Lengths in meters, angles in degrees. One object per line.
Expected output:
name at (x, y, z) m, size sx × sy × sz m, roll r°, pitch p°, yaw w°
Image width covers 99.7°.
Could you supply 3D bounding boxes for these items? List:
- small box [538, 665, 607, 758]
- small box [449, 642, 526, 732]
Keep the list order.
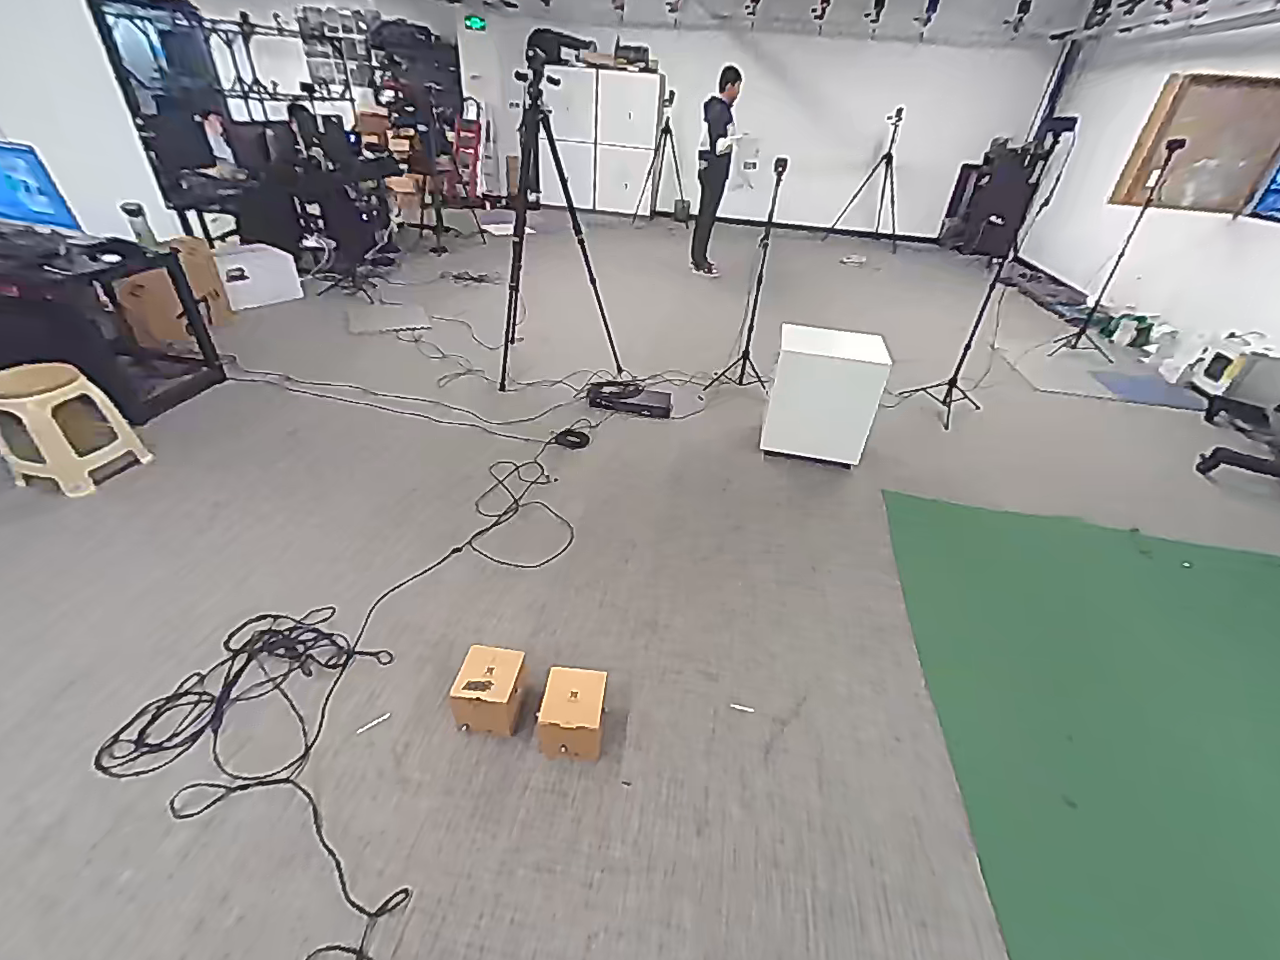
small box at (-0.188, 0.657, 1.540) m, size 0.168 × 0.176 × 0.179 m, roll 5°, pitch 36°, yaw 2°
small box at (-0.435, 0.608, 1.580) m, size 0.168 × 0.176 × 0.179 m, roll 7°, pitch 35°, yaw 4°
